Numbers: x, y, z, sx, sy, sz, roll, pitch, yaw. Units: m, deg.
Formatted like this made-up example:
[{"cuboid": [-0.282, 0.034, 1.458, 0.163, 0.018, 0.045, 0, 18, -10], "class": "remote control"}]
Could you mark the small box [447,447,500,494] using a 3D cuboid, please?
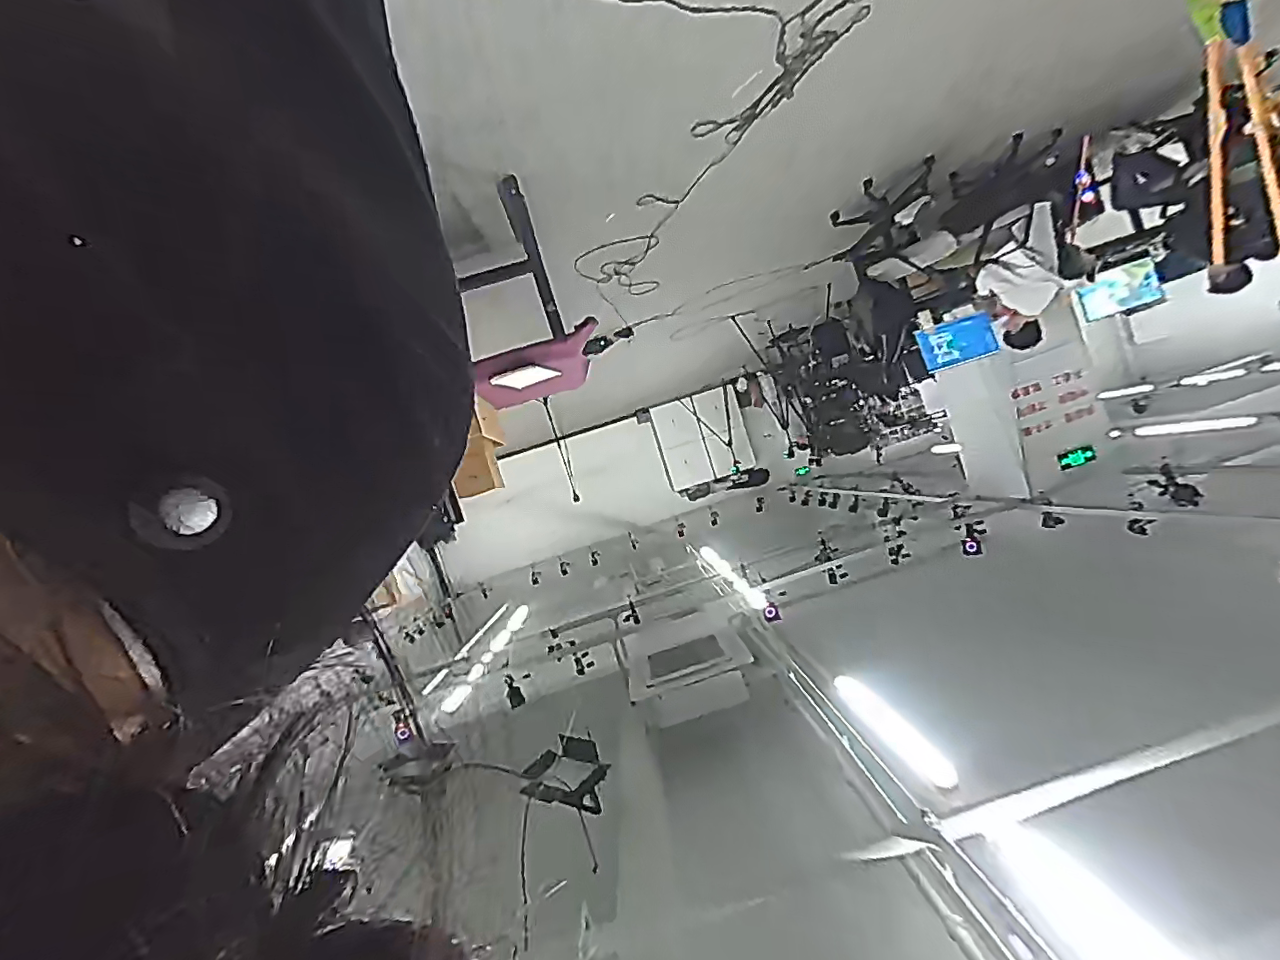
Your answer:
[{"cuboid": [-0.755, -0.040, 2.440, 0.179, 0.176, 0.168, -18, -179, -1], "class": "small box"}]
